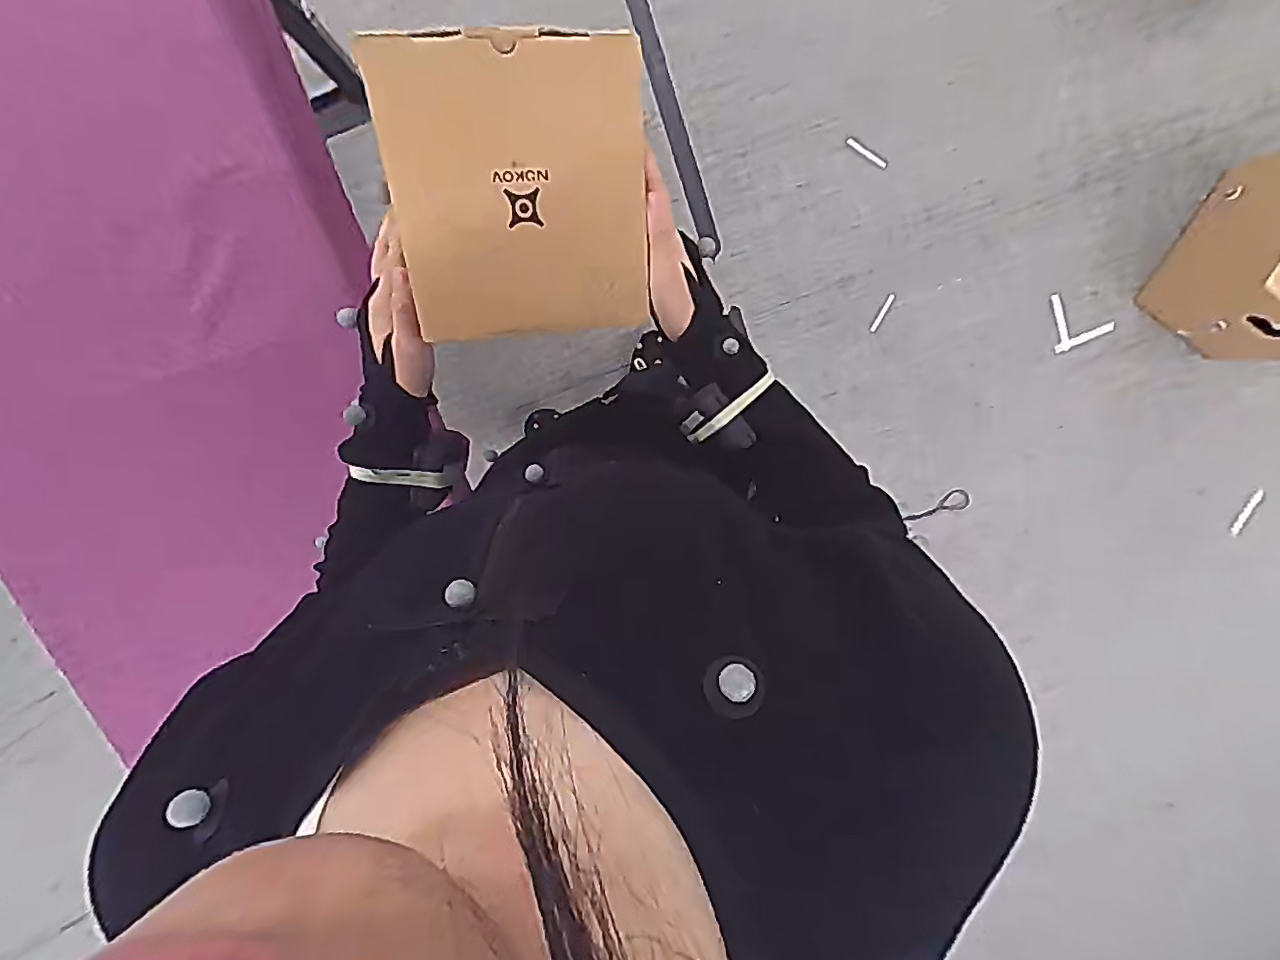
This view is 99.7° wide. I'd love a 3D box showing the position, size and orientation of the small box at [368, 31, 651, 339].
[{"bbox_3d":[-0.087,-0.222,0.426,0.168,0.176,0.179,-7,118,-9],"label":"small box"}]
